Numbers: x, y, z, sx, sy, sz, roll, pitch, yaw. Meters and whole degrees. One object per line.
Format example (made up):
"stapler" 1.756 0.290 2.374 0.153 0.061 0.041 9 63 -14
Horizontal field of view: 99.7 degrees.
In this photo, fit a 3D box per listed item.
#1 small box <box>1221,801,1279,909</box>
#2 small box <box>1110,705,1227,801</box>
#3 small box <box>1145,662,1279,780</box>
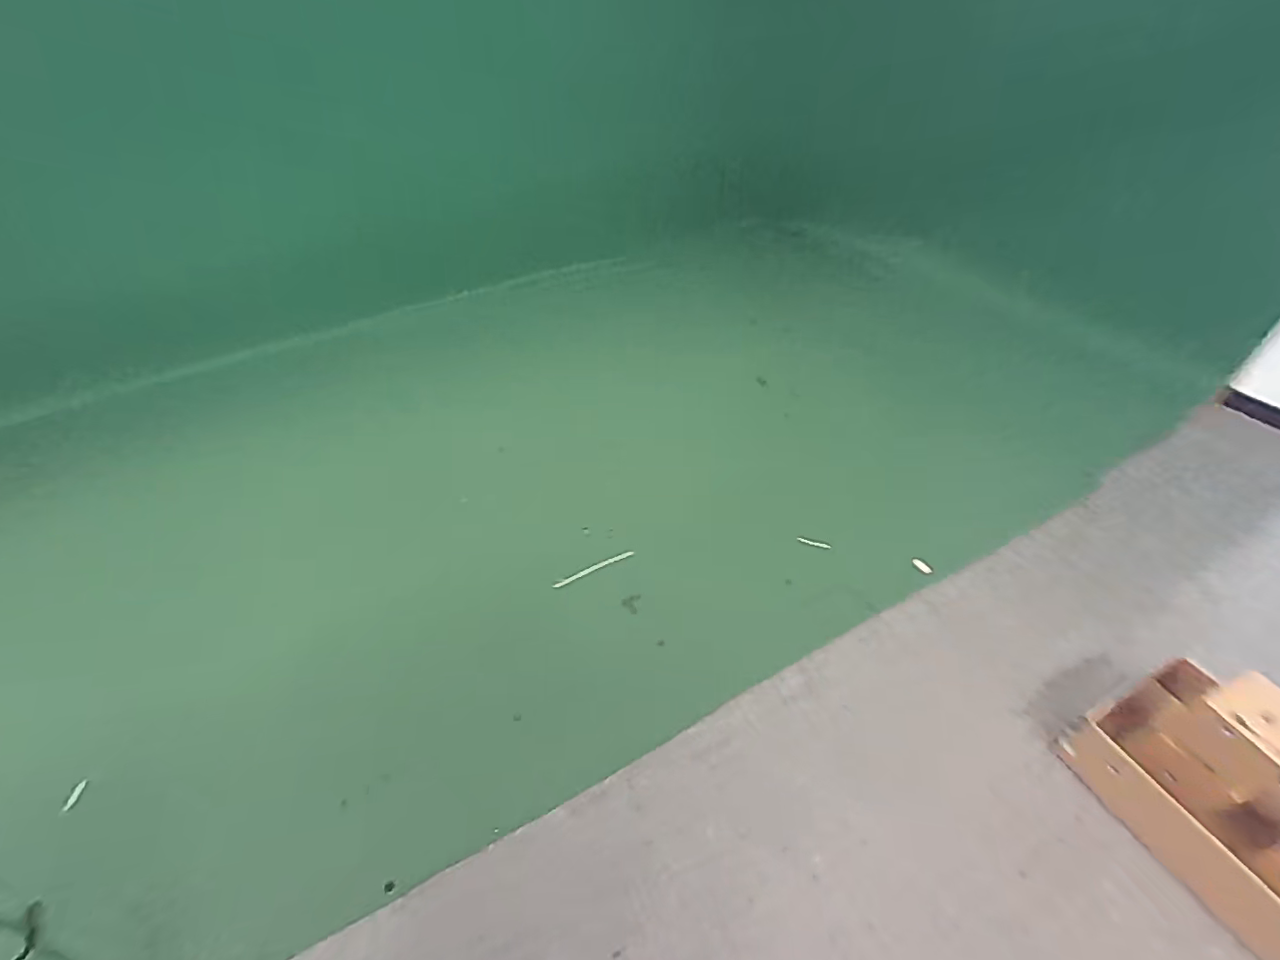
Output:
"small box" 1.469 0.840 1.200 0.179 0.176 0.168 -23 48 -17
"small box" 1.350 0.675 1.365 0.179 0.176 0.168 -23 50 -18
"small box" 1.343 0.558 1.250 0.179 0.176 0.168 -18 47 -15
